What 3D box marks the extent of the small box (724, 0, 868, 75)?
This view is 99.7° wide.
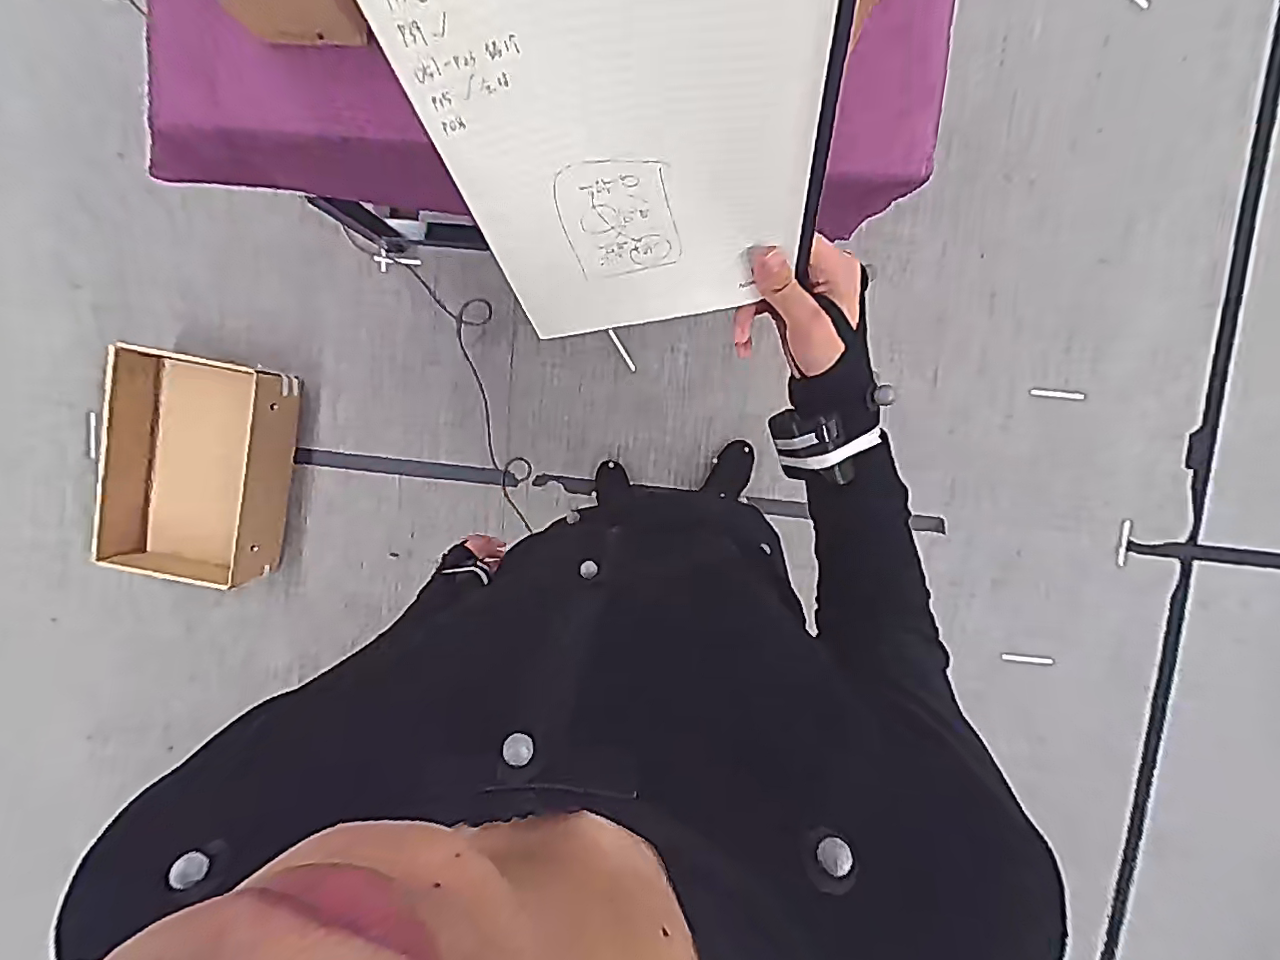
[{"bbox_3d":[0.207,-0.681,0.721,0.168,0.176,0.179,-9,95,2],"label":"small box"}]
